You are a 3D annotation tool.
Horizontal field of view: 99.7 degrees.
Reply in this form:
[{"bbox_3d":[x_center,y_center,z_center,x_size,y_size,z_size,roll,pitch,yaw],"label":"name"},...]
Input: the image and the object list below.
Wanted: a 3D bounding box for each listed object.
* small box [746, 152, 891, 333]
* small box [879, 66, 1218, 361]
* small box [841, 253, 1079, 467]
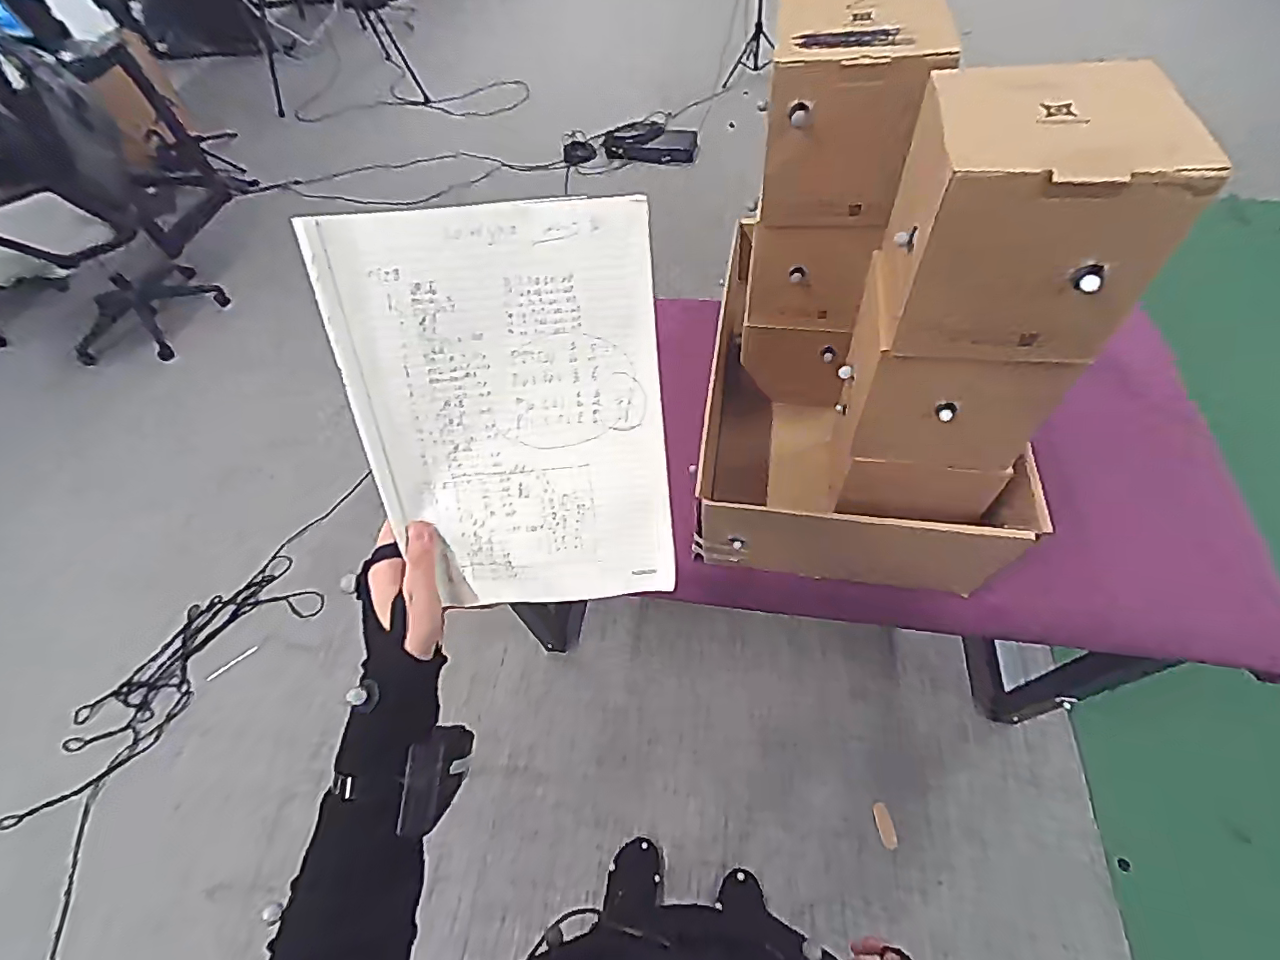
[{"bbox_3d":[0.241,-0.326,0.754,0.168,0.176,0.179,6,58,11],"label":"small box"},{"bbox_3d":[0.315,-0.223,0.469,0.168,0.176,0.179,6,55,12],"label":"small box"},{"bbox_3d":[0.331,-0.130,0.602,0.179,0.176,0.168,5,55,13],"label":"small box"}]
